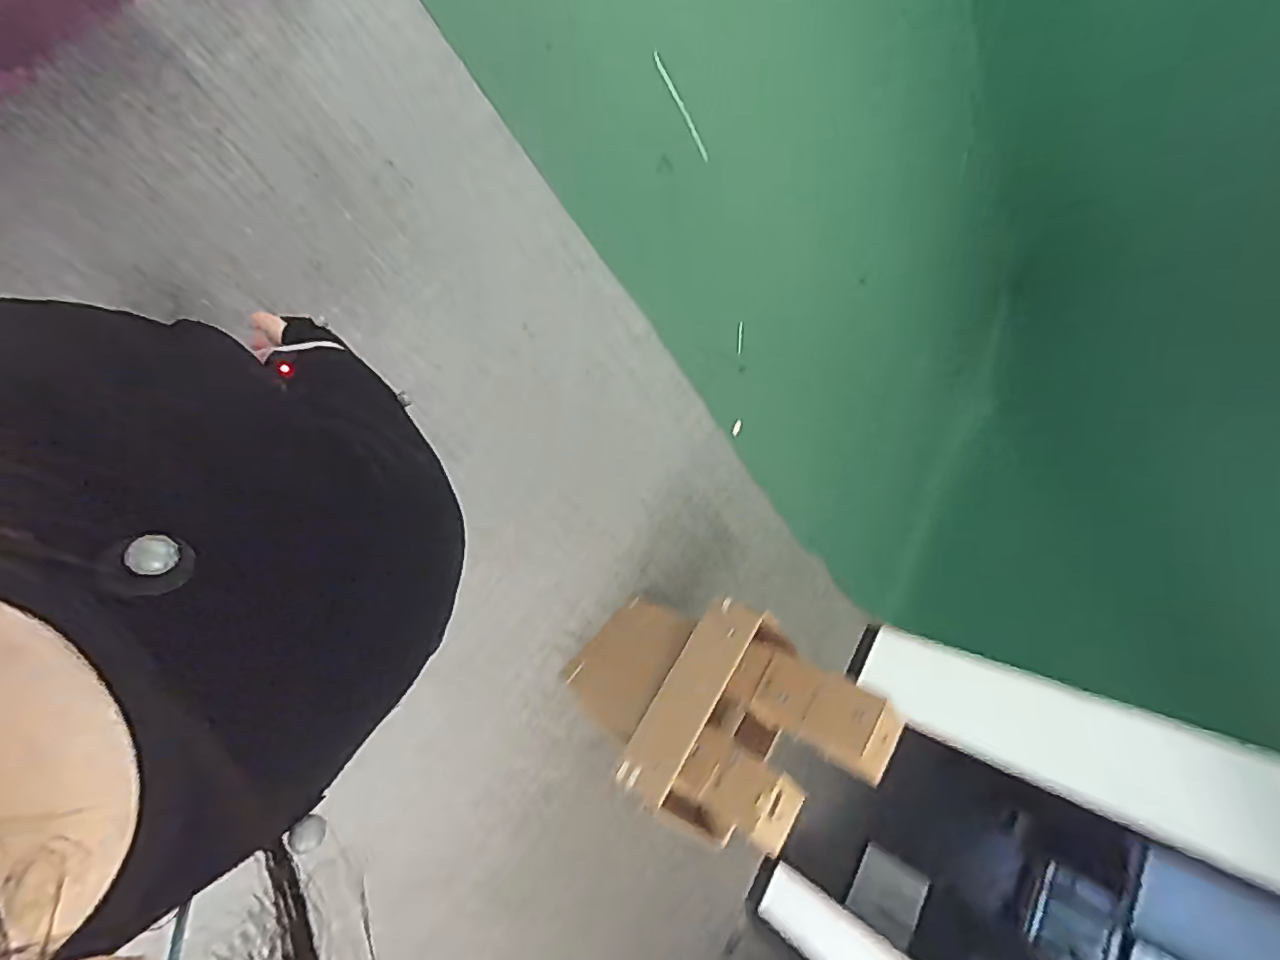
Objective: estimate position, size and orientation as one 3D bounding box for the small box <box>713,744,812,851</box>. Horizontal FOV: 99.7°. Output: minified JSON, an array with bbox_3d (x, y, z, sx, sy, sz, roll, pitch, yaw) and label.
[{"bbox_3d":[0.326,0.844,1.454,0.168,0.176,0.179,-52,126,-20],"label":"small box"}]

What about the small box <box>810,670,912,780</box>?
[{"bbox_3d":[0.575,0.630,1.409,0.179,0.176,0.168,-51,124,-20],"label":"small box"}]

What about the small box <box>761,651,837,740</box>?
[{"bbox_3d":[0.475,0.613,1.540,0.168,0.176,0.179,-54,127,-18],"label":"small box"}]
